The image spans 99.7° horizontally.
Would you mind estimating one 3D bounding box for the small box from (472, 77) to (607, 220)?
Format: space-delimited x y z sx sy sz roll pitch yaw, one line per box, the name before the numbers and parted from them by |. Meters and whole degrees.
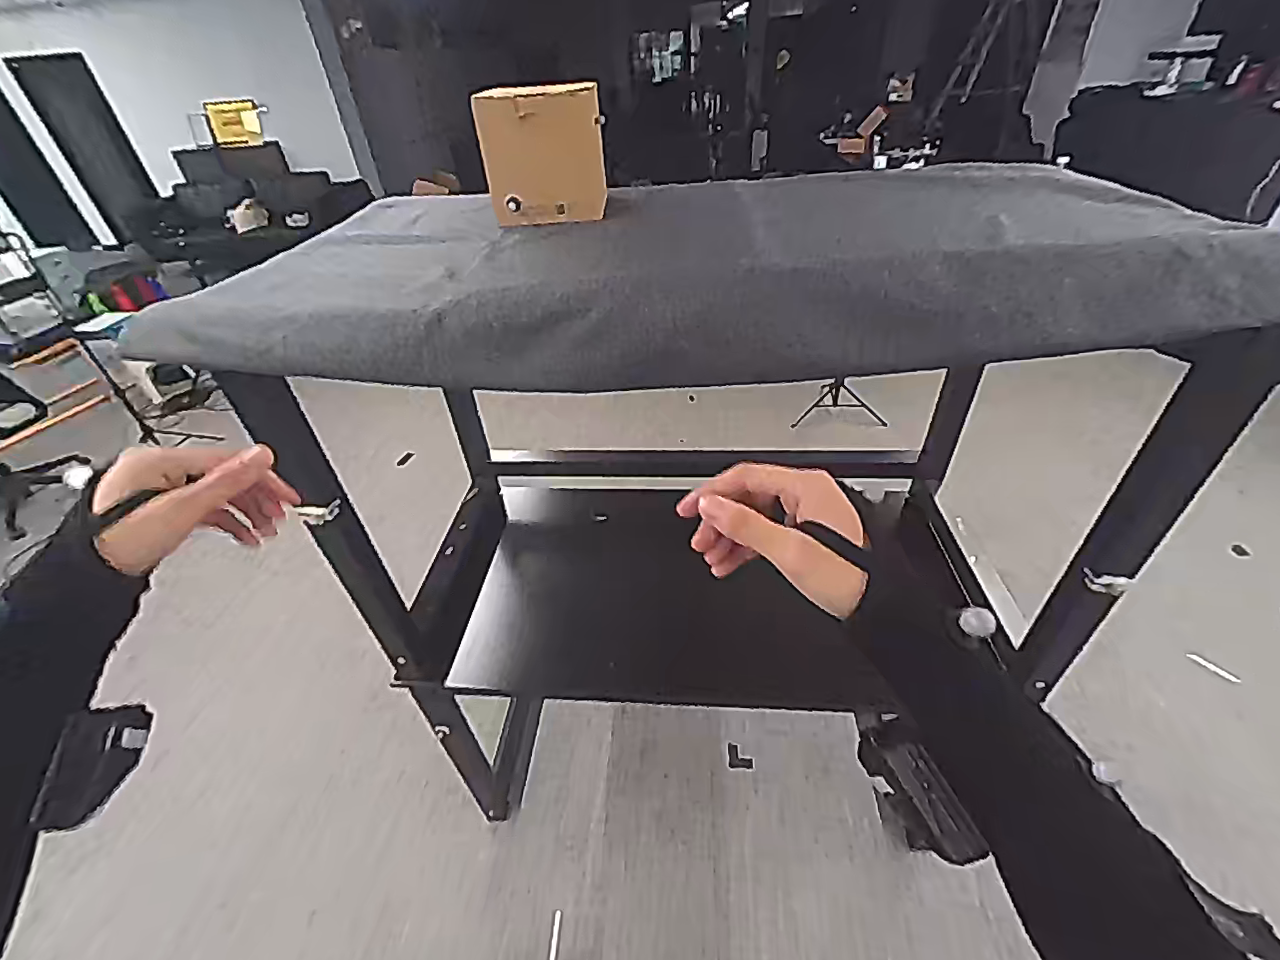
small box | -0.143 -0.513 0.844 0.168 0.176 0.179 -2 38 2
